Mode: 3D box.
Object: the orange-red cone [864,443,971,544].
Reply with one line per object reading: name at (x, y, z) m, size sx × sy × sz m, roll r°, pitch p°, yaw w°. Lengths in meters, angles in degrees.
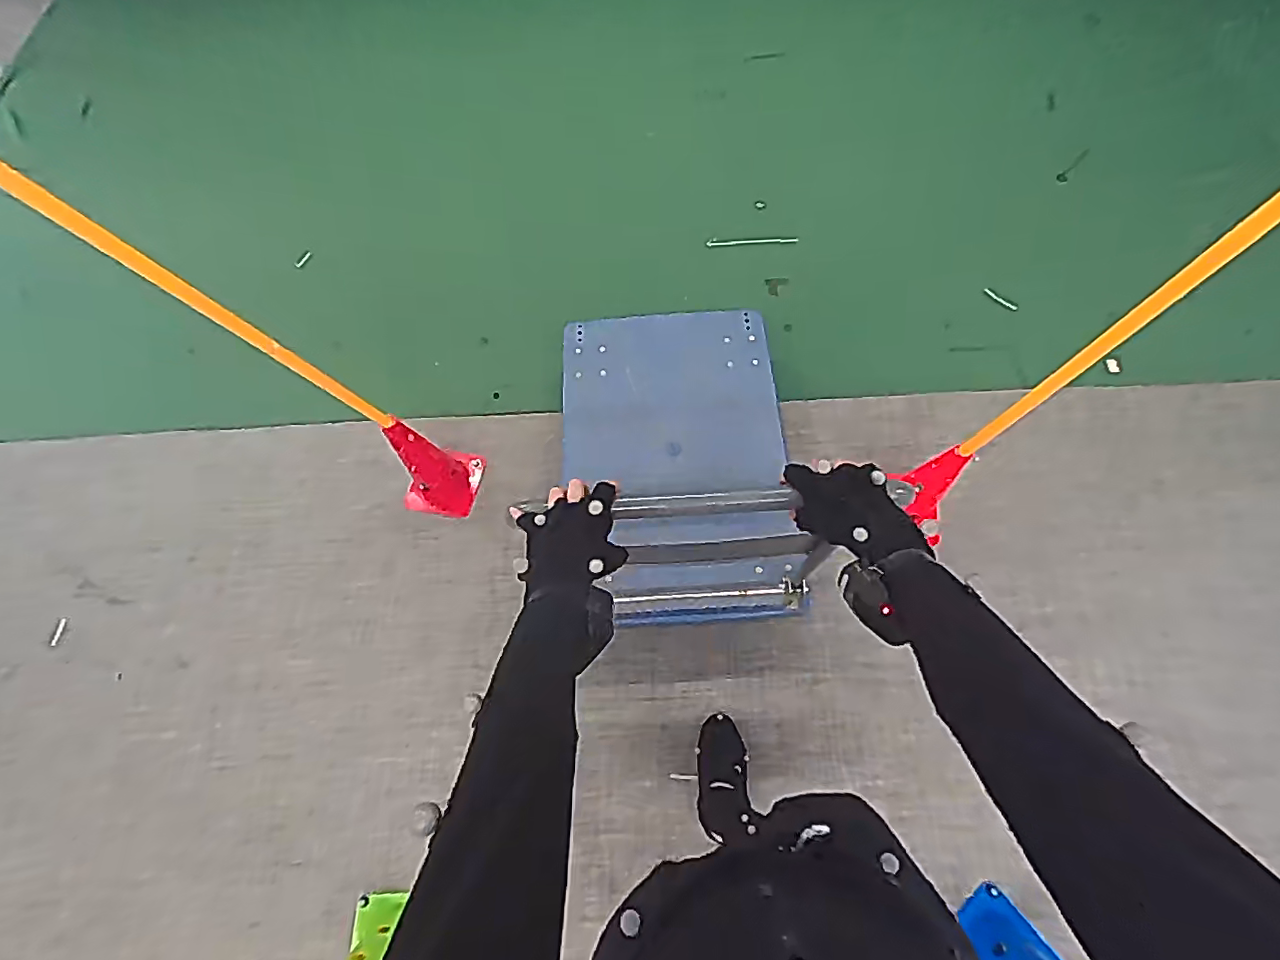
orange-red cone at (0.709, 0.006, 1.329) m, size 0.198 × 0.360 × 0.199 m, roll 8°, pitch 68°, yaw 7°
